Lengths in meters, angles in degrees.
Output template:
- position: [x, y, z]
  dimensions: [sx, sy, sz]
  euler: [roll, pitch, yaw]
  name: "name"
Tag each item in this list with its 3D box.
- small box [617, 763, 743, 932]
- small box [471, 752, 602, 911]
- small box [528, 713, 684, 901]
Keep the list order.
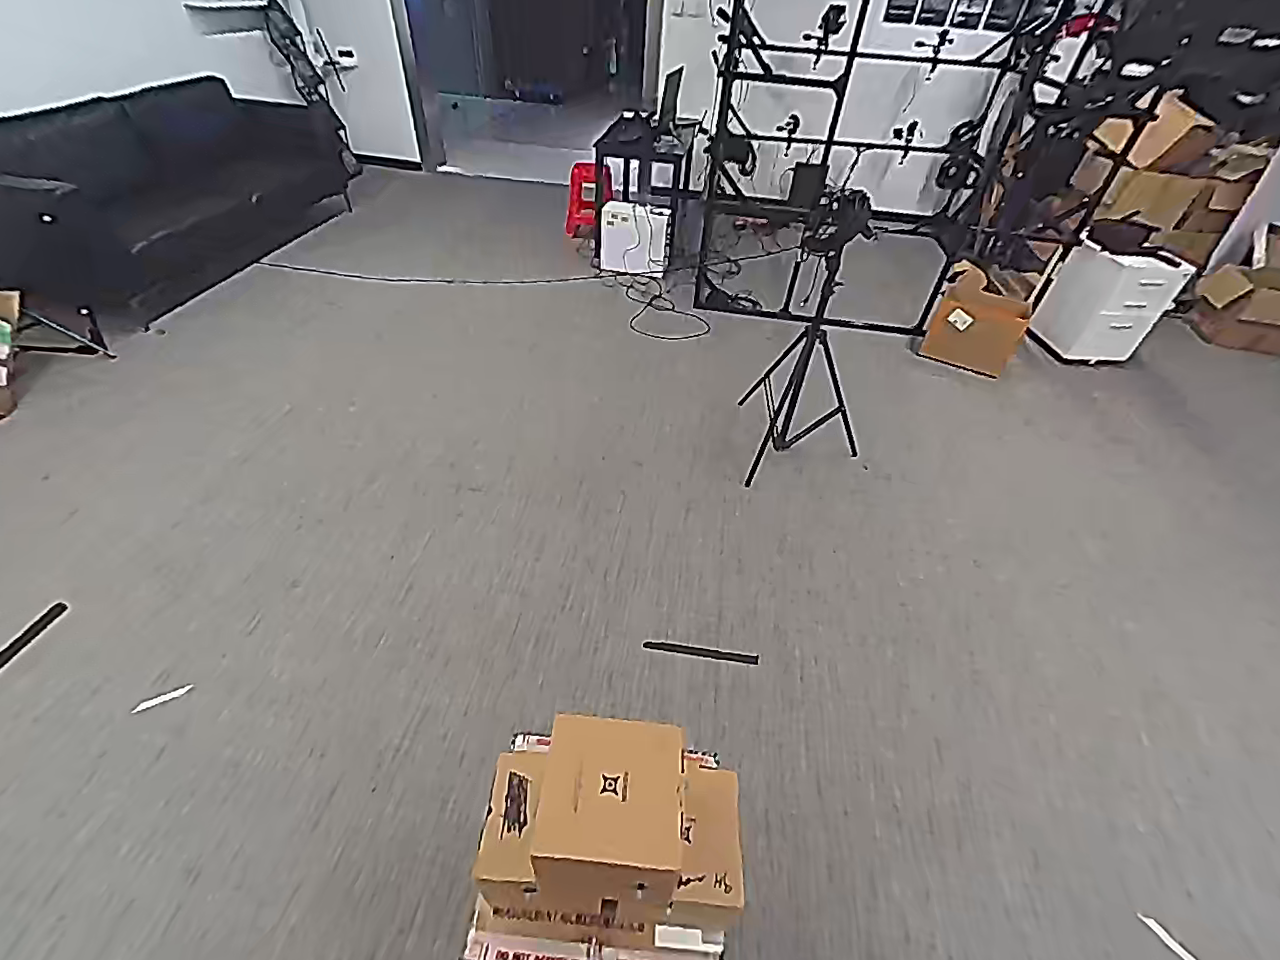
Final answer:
- position: [0.057, 0.558, 0.830]
  dimensions: [0.168, 0.176, 0.179]
  euler: [7, 41, 0]
  name: "small box"
- position: [-0.140, 0.541, 0.831]
  dimensions: [0.179, 0.176, 0.168]
  euler: [3, 42, 0]
  name: "small box"
- position: [-0.039, 0.433, 0.714]
  dimensions: [0.179, 0.176, 0.168]
  euler: [4, 40, 0]
  name: "small box"
